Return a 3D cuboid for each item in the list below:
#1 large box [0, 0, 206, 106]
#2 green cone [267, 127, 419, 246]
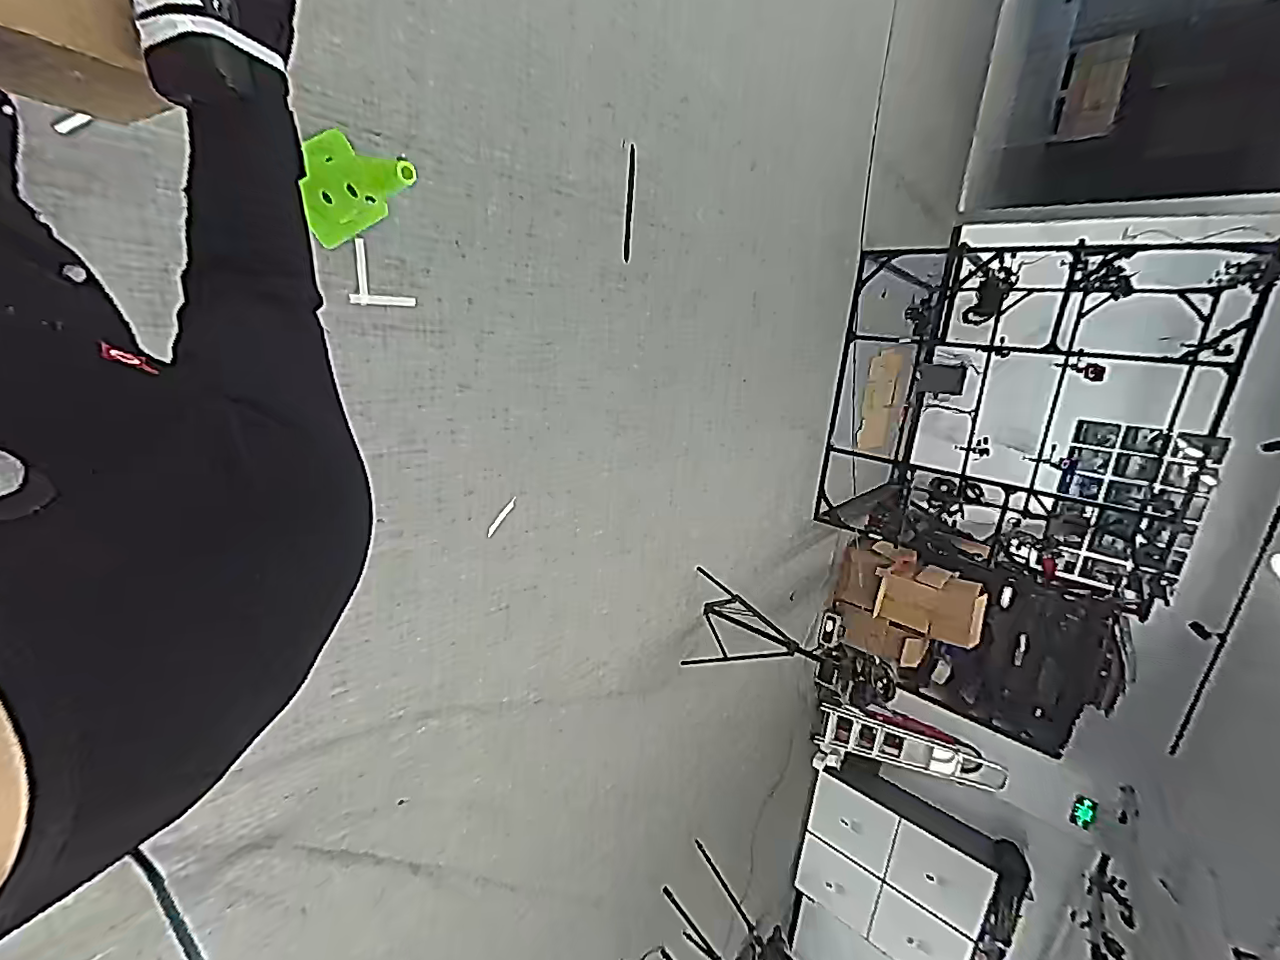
[{"bbox_3d":[-0.539,-0.470,0.297,0.408,0.320,0.320,-9,116,-51],"label":"large box"},{"bbox_3d":[-0.591,-0.644,1.161,0.202,0.368,0.200,-52,139,-27],"label":"green cone"}]
